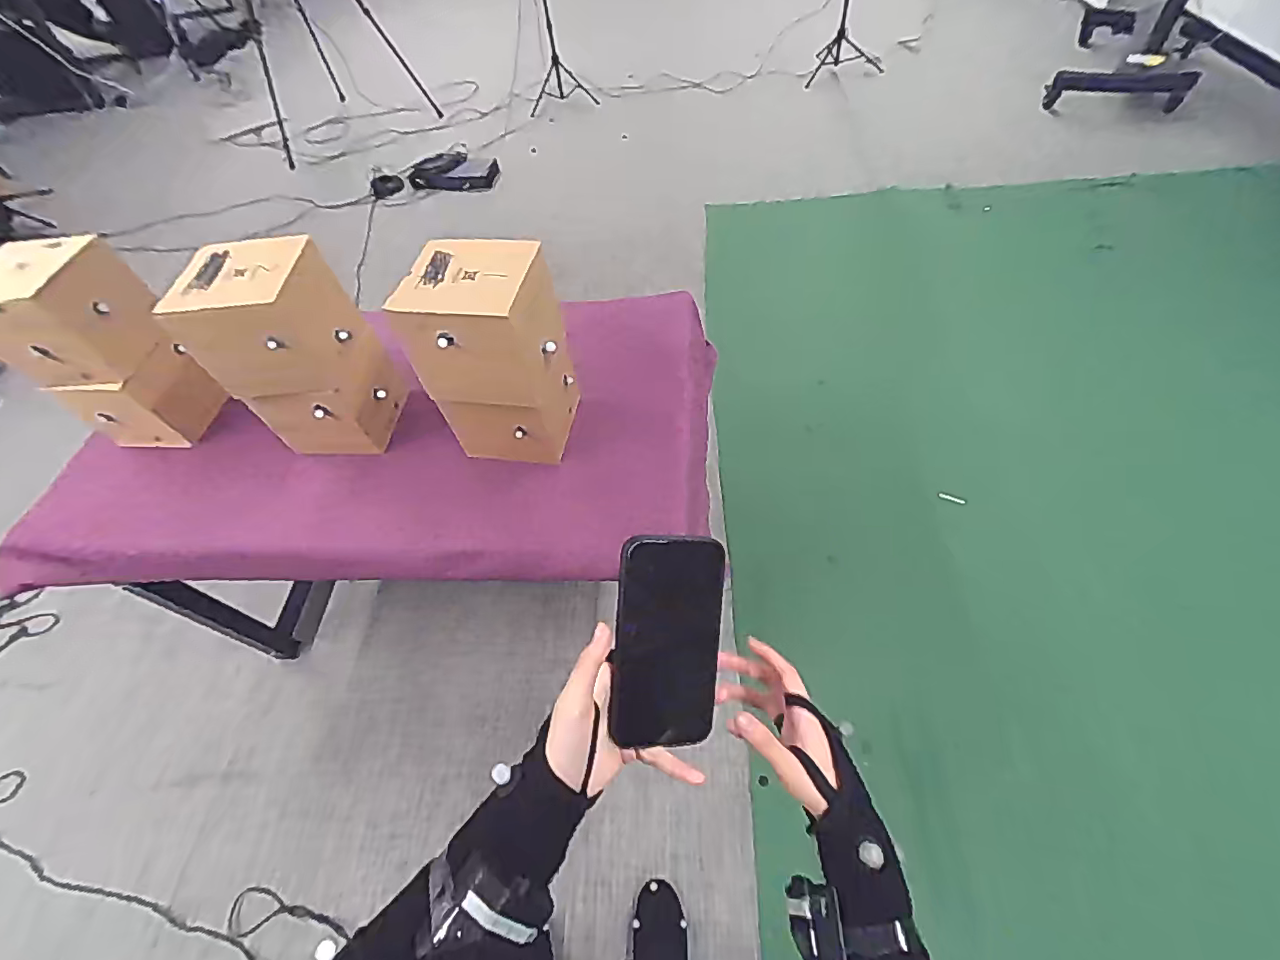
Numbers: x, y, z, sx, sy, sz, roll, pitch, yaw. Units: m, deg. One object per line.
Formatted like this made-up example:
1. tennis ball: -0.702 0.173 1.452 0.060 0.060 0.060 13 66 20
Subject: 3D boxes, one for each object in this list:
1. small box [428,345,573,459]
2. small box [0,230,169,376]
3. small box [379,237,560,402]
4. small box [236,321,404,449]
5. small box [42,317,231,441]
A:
1. small box: -0.227 -0.152 0.938 0.179 0.176 0.168 6 56 11
2. small box: -0.964 -0.289 0.913 0.168 0.176 0.179 -3 56 4
3. small box: -0.234 -0.232 0.794 0.179 0.176 0.168 6 56 10
4. small box: -0.564 -0.169 0.985 0.179 0.176 0.168 1 56 7
5. small box: -0.950 -0.190 1.044 0.168 0.176 0.179 1 56 7
